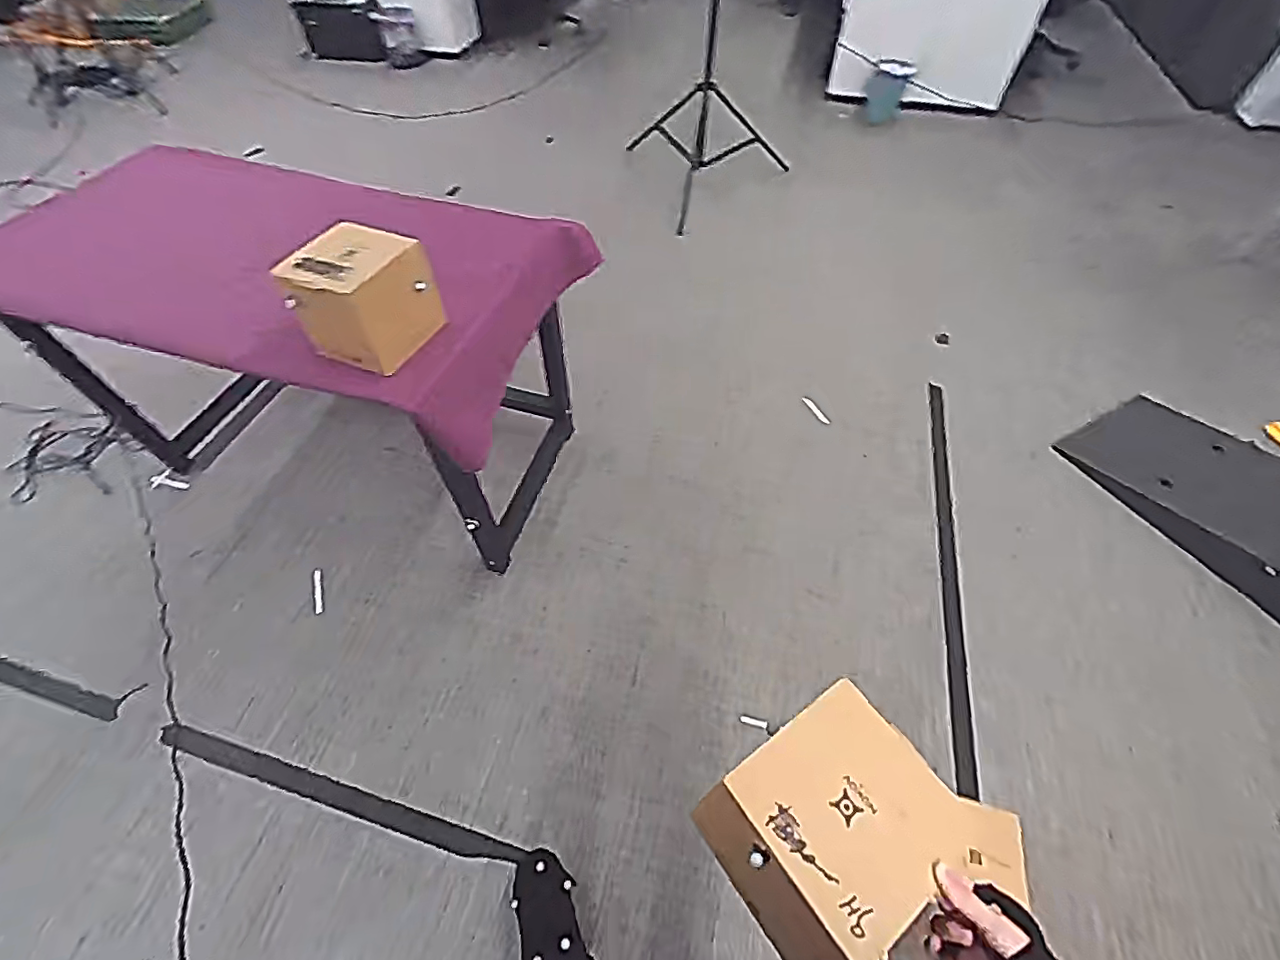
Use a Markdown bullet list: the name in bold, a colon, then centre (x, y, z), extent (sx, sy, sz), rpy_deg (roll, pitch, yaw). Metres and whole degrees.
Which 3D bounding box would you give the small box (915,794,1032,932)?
- **small box**: centre (0.542, 0.663, 0.955), extent (0.179, 0.176, 0.168), rpy_deg (14, 56, 8)

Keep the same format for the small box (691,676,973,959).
- **small box**: centre (0.175, 0.337, 0.543), extent (0.179, 0.176, 0.168), rpy_deg (-25, 58, -28)
